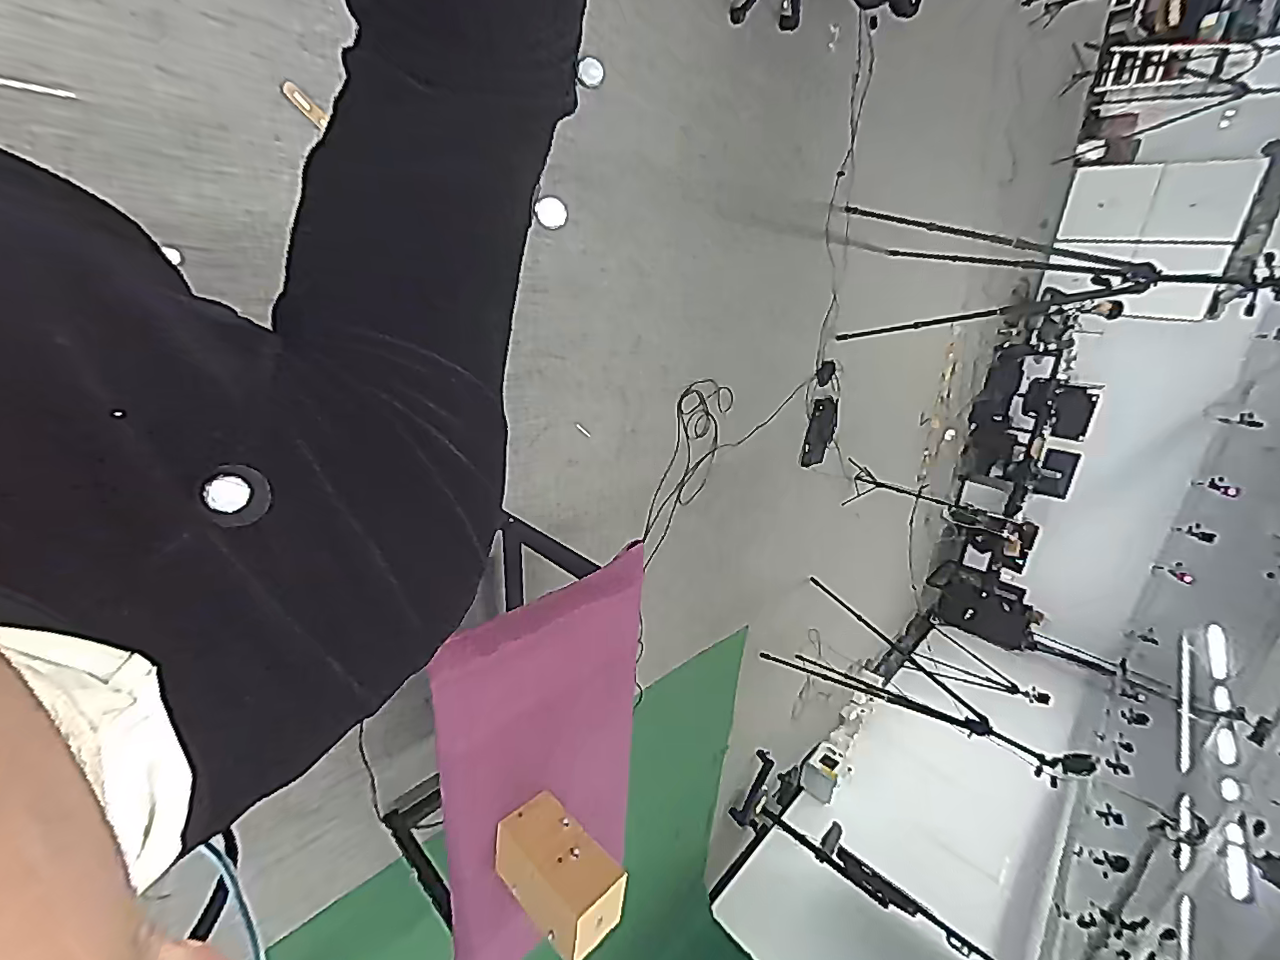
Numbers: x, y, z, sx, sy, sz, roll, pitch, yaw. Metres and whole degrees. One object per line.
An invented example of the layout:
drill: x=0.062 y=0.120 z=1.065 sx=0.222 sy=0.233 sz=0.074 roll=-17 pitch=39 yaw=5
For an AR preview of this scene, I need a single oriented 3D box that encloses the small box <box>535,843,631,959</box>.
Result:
small box: x=-0.147 y=1.070 z=1.354 sx=0.168 sy=0.176 sz=0.179 roll=-12 pitch=115 yaw=-46
